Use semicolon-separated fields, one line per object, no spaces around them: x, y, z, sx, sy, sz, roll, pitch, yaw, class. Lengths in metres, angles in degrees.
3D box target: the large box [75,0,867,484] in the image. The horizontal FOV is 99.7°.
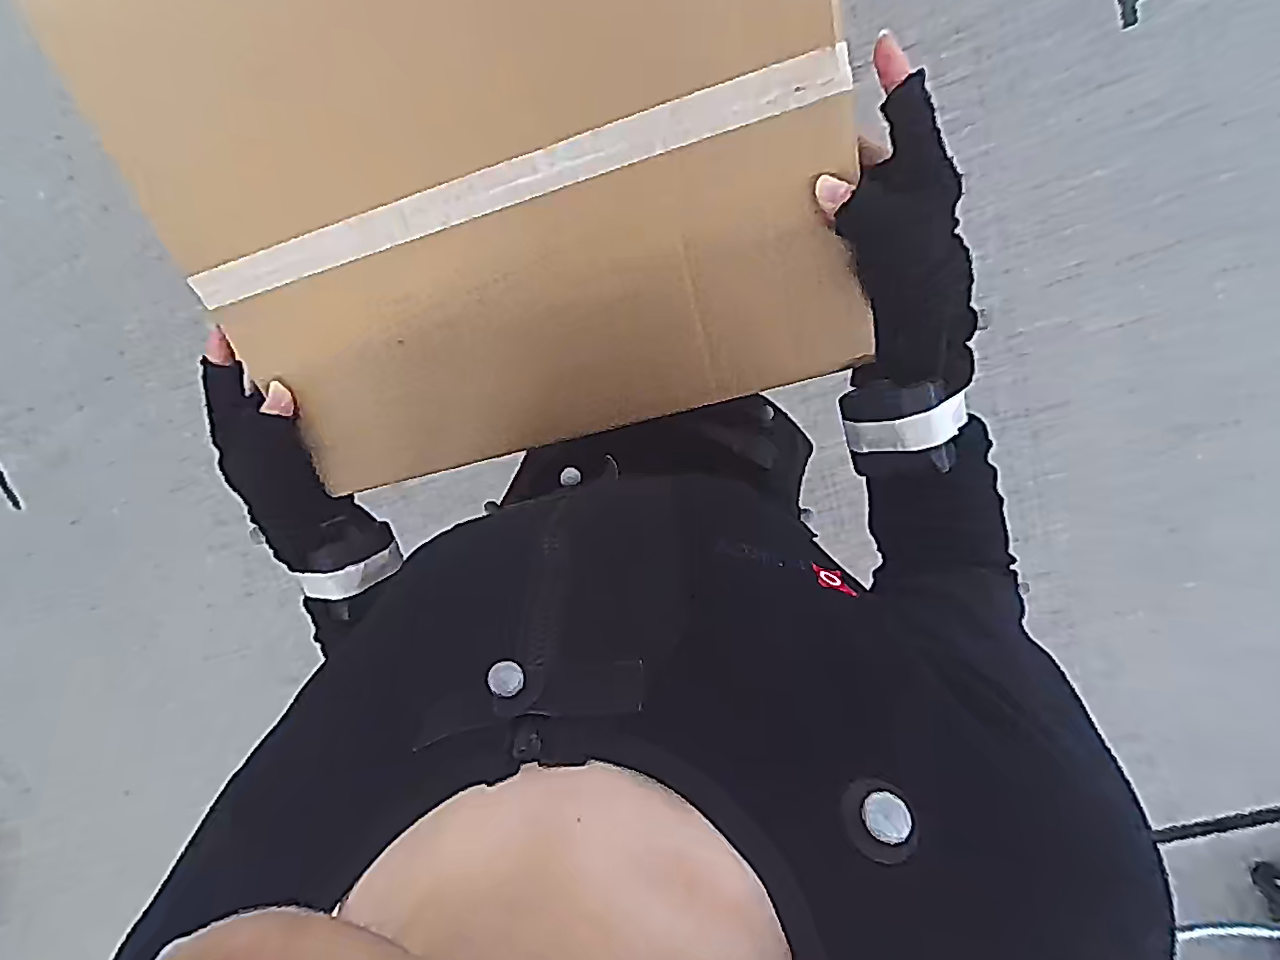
-0.076;-0.238;0.455;0.408;0.320;0.320;-13;117;10;large box
